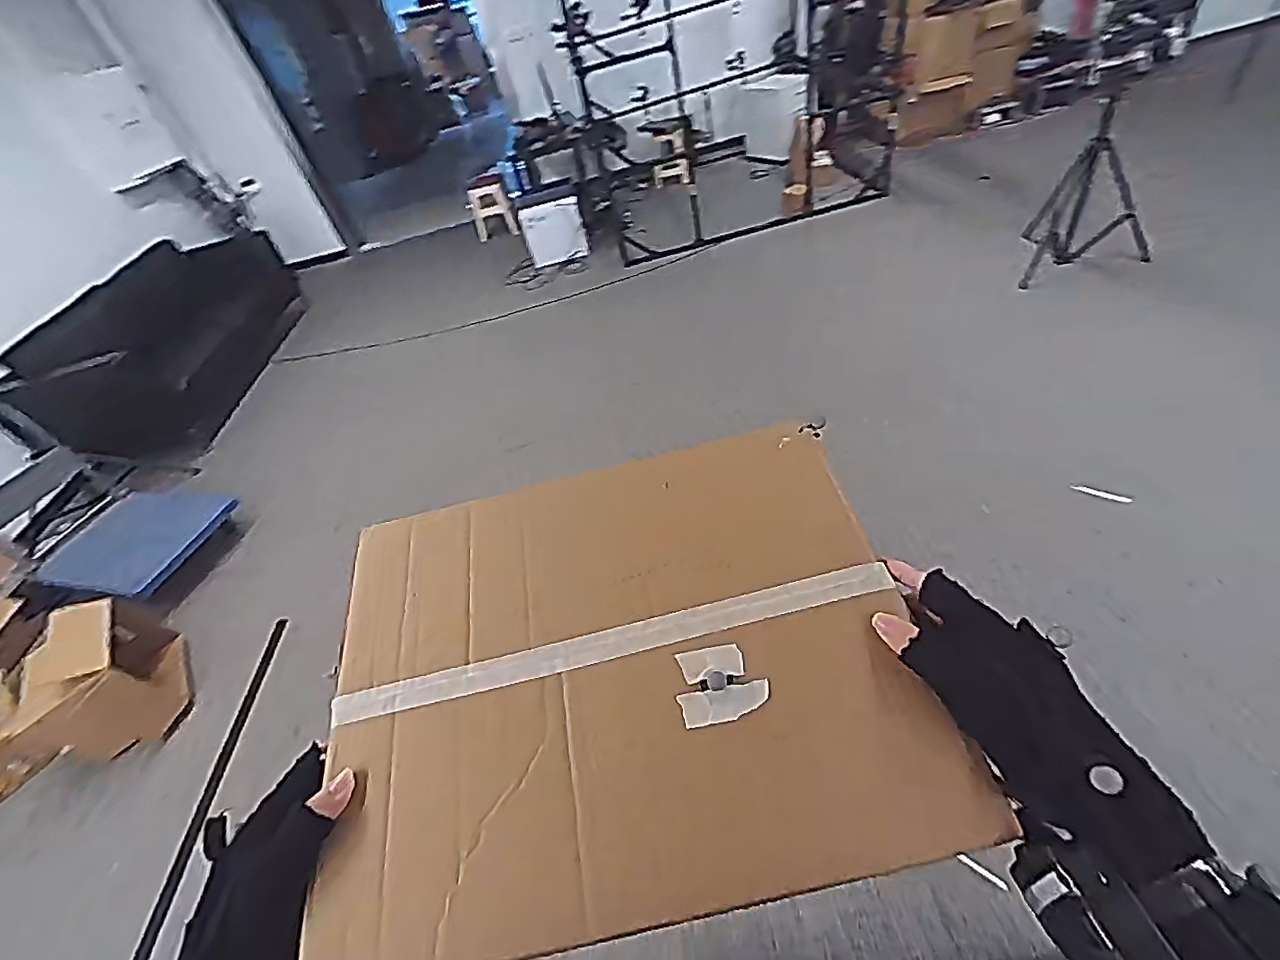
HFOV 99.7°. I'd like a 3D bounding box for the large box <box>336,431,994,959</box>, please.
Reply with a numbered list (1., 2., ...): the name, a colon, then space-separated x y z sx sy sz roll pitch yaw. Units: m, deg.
1. large box: 0.007 0.207 0.518 0.408 0.320 0.320 -13 54 1
